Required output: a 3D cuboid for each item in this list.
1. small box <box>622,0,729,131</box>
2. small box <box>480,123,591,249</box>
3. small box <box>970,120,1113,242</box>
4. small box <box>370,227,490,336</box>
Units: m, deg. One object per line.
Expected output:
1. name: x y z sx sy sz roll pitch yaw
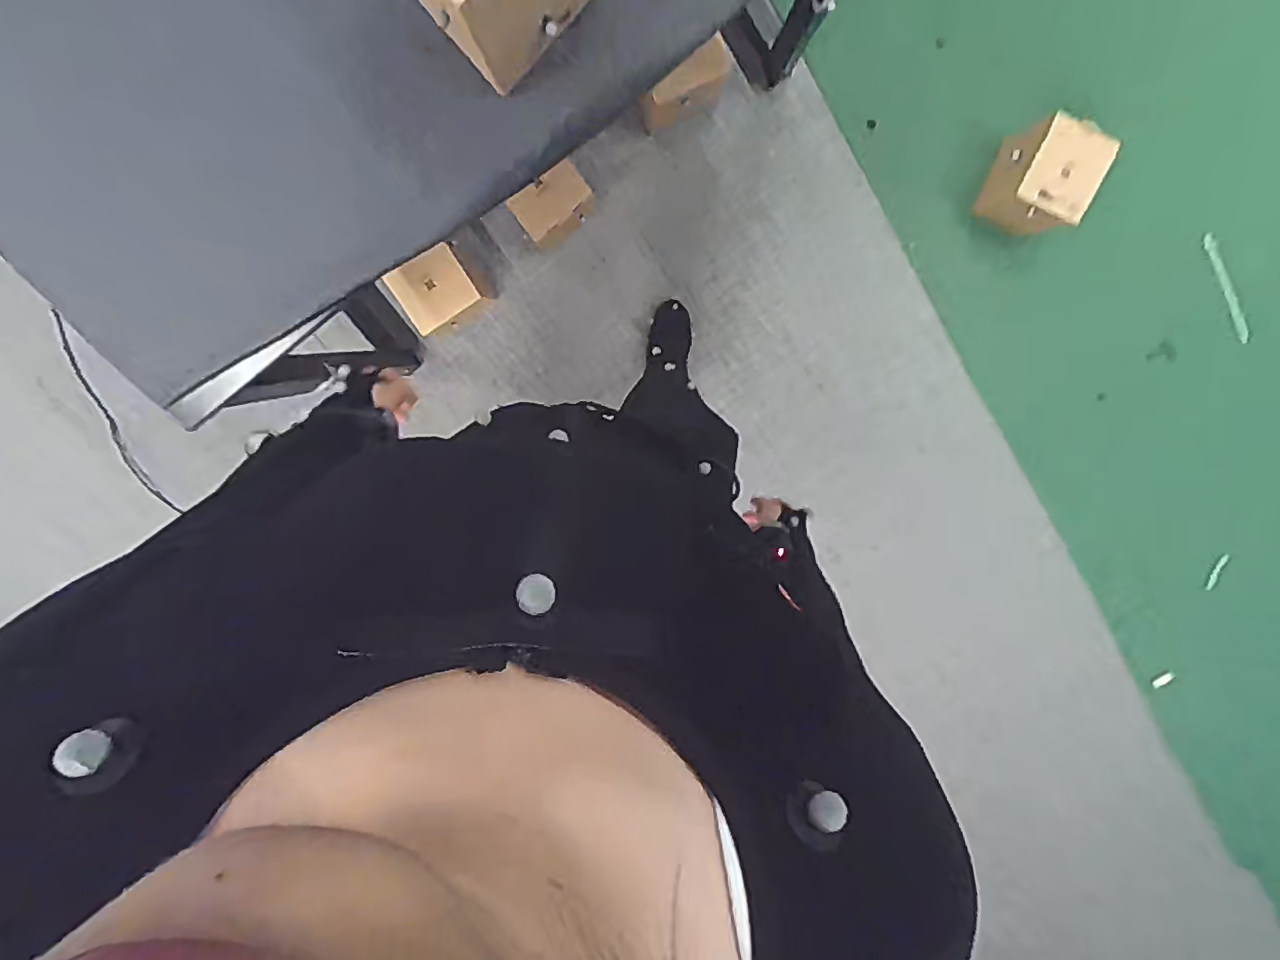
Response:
1. small box: 0.070 -0.892 1.165 0.179 0.176 0.168 -23 105 2
2. small box: -0.225 -0.647 1.220 0.168 0.176 0.179 -37 102 7
3. small box: 0.918 -0.682 1.256 0.168 0.176 0.179 22 102 -7
4. small box: -0.478 -0.457 1.263 0.168 0.176 0.179 -31 104 6
